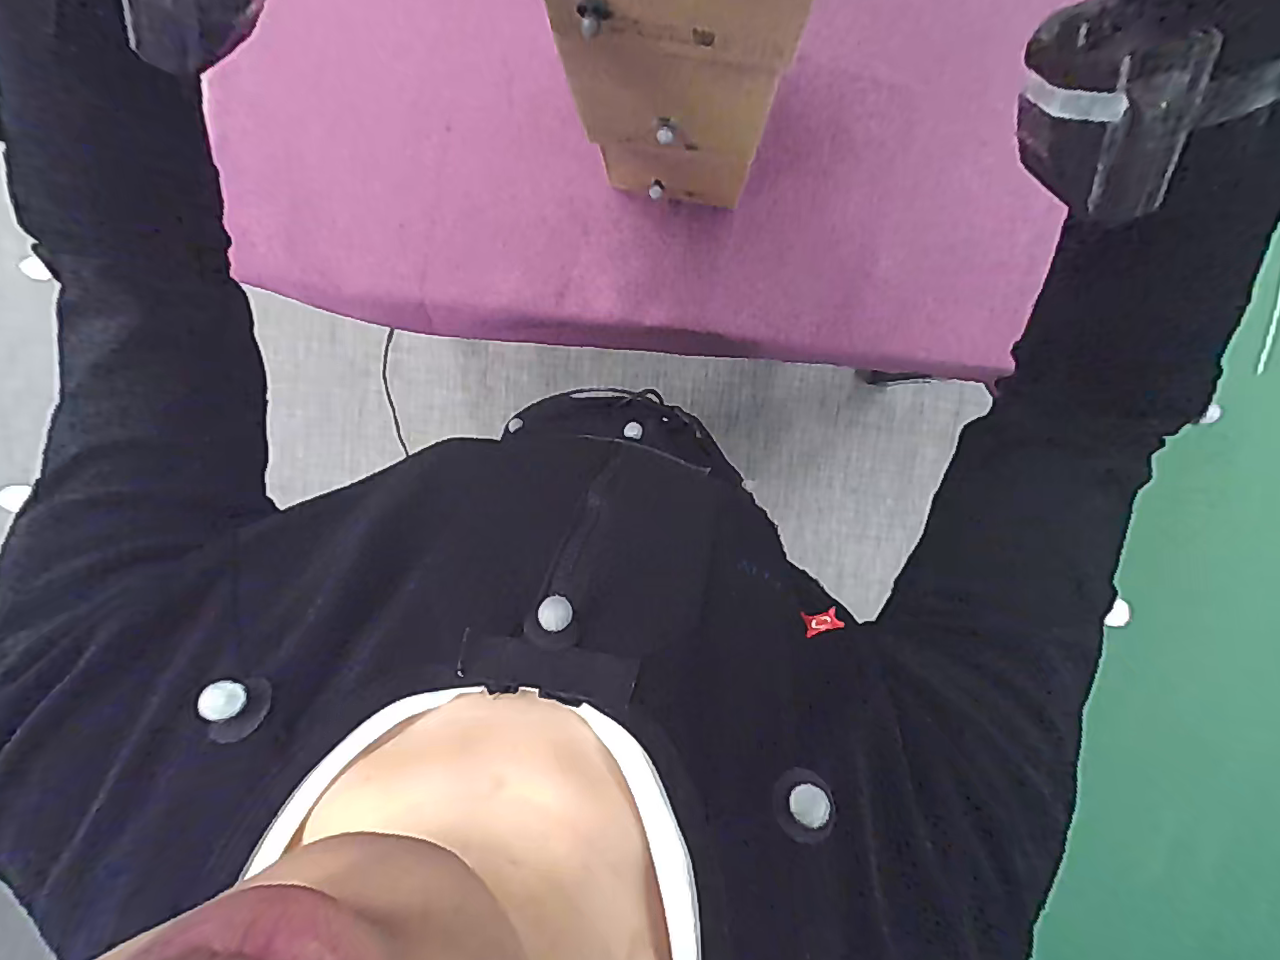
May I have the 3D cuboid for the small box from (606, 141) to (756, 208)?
[{"bbox_3d":[0.053,-0.434,0.600,0.168,0.176,0.179,11,98,2],"label":"small box"}]

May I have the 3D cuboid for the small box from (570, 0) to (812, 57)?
[{"bbox_3d":[0.034,-0.368,0.279,0.168,0.176,0.179,10,97,2],"label":"small box"}]

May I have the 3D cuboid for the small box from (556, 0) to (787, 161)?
[{"bbox_3d":[0.039,-0.399,0.441,0.168,0.176,0.179,9,98,2],"label":"small box"}]
